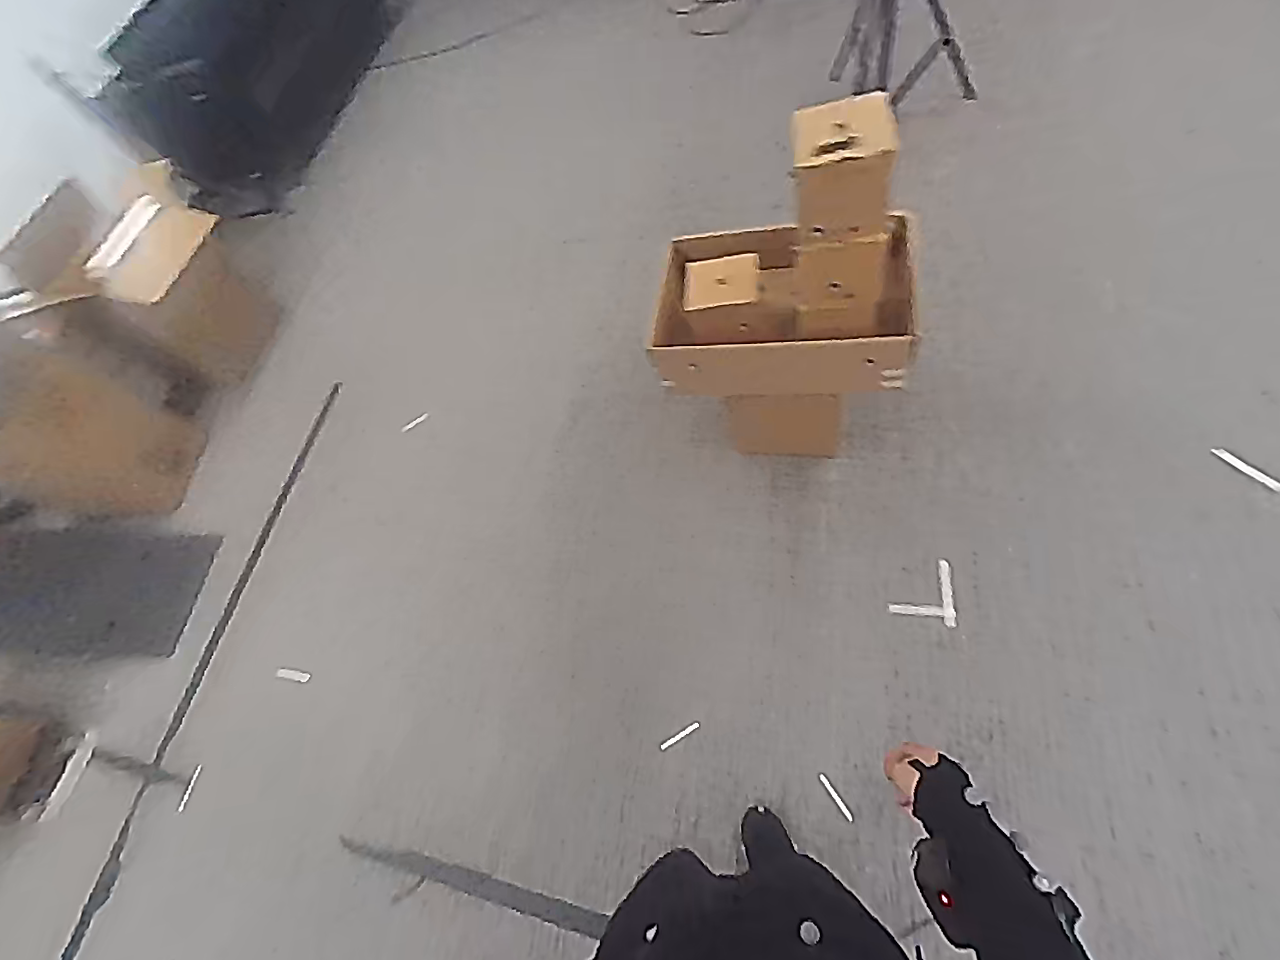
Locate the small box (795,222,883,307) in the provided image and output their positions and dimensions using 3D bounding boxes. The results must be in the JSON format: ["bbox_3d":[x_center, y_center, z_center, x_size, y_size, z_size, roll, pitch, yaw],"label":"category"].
[{"bbox_3d":[0.423,-0.502,1.169,0.168,0.176,0.179,-1,64,17],"label":"small box"}]

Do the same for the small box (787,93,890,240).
[{"bbox_3d":[0.374,-0.586,1.036,0.168,0.176,0.179,-3,62,16],"label":"small box"}]
